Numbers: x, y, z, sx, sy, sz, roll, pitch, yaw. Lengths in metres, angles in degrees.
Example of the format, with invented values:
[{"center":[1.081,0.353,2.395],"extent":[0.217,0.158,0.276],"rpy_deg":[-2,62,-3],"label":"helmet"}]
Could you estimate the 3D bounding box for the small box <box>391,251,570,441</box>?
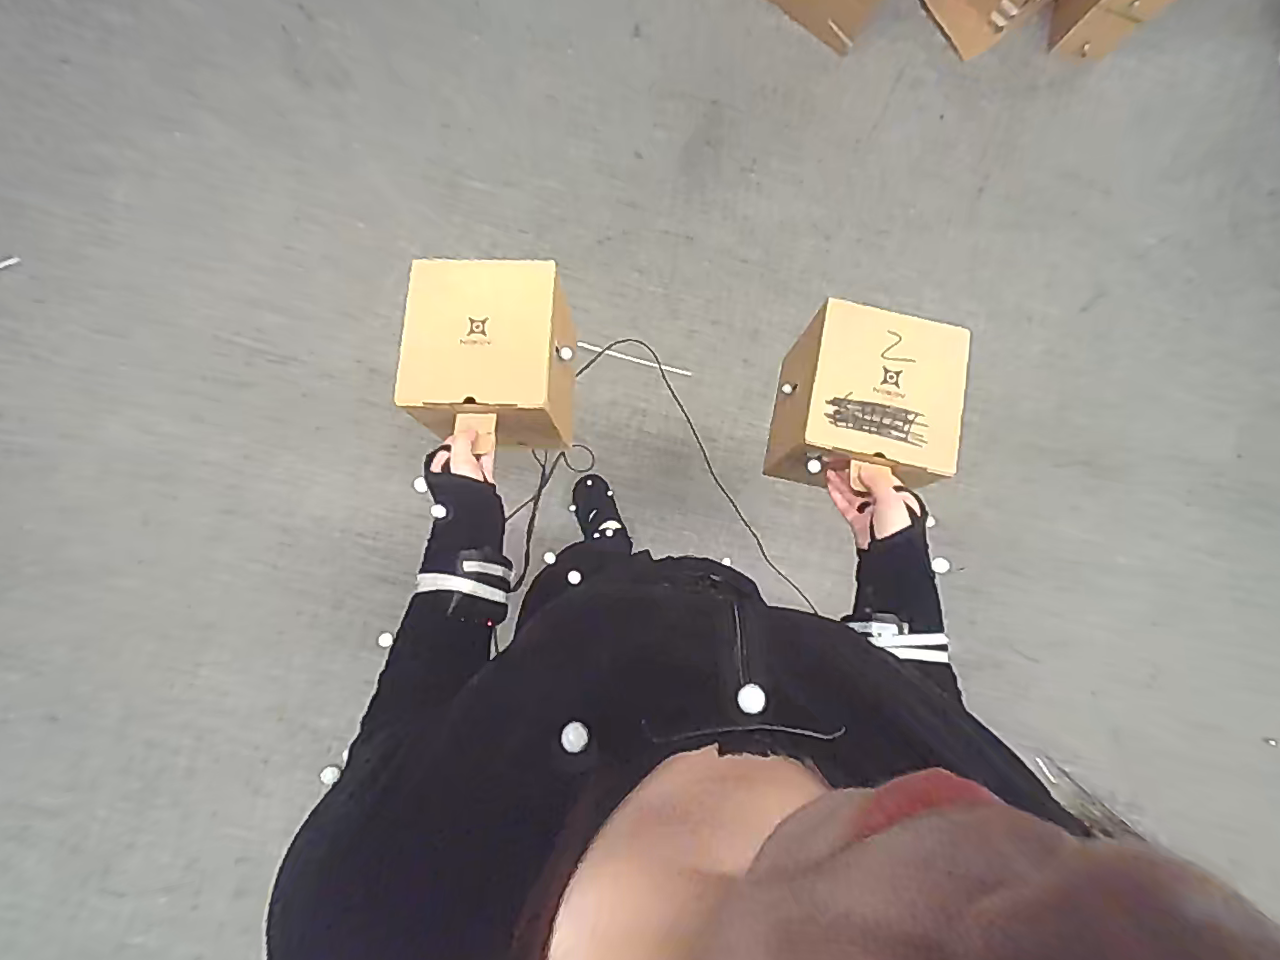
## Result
[{"center":[-0.182,-0.157,0.674],"extent":[0.168,0.176,0.179],"rpy_deg":[2,79,2],"label":"small box"}]
